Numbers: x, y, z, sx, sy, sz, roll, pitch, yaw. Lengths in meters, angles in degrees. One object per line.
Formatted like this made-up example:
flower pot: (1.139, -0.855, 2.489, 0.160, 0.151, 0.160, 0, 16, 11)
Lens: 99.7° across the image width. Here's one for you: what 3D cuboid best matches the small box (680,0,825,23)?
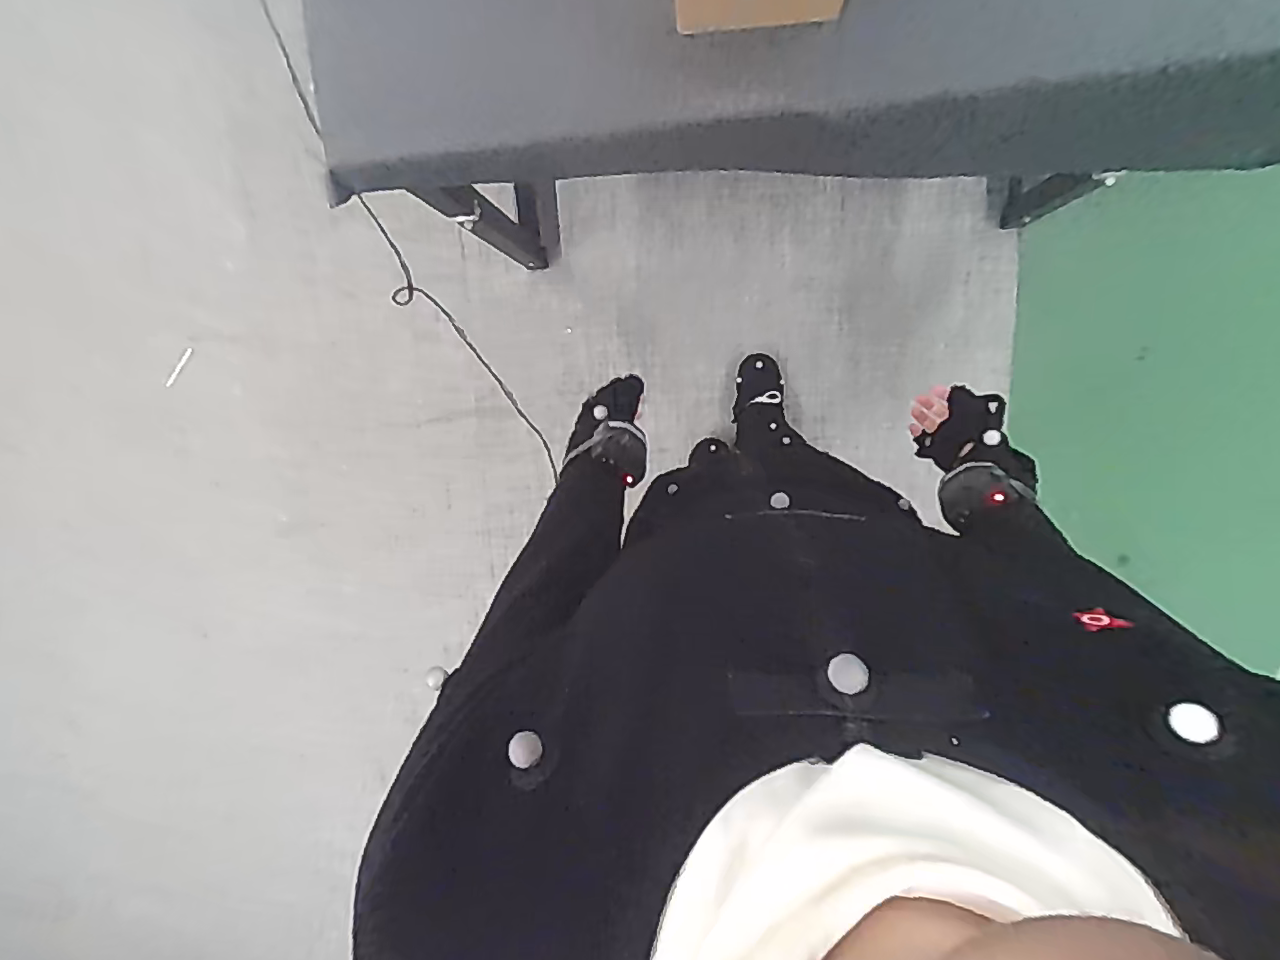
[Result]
small box: (0.122, -0.578, 0.507, 0.179, 0.176, 0.168, 0, 99, 8)
